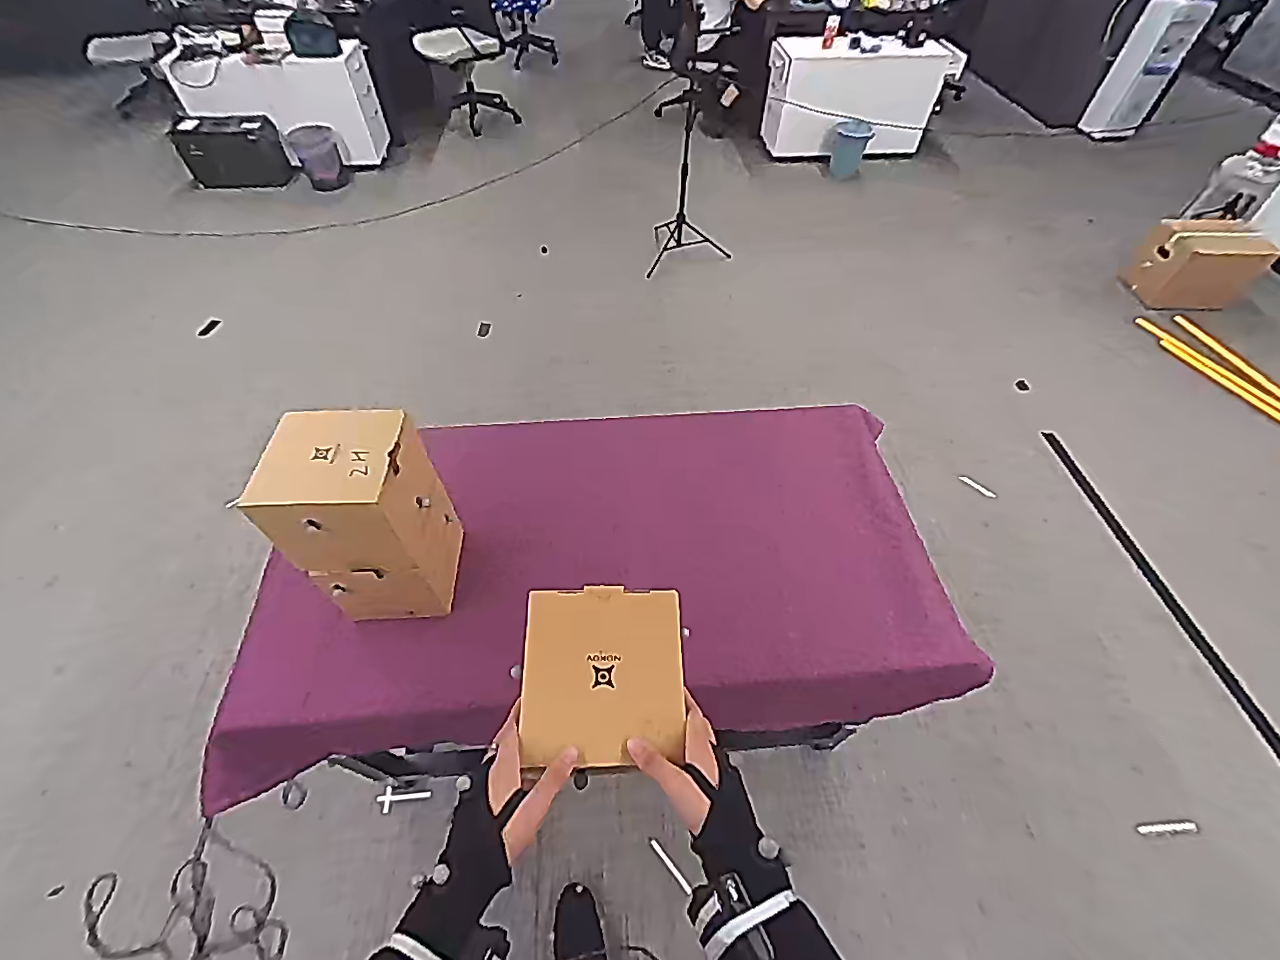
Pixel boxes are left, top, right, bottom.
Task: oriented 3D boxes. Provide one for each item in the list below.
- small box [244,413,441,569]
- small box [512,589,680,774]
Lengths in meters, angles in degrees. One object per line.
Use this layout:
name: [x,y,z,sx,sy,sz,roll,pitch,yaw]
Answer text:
small box: [-0.412,0.020,0.787,0.179,0.176,0.168,0,52,-2]
small box: [-0.047,0.239,0.627,0.168,0.176,0.179,1,57,-5]
